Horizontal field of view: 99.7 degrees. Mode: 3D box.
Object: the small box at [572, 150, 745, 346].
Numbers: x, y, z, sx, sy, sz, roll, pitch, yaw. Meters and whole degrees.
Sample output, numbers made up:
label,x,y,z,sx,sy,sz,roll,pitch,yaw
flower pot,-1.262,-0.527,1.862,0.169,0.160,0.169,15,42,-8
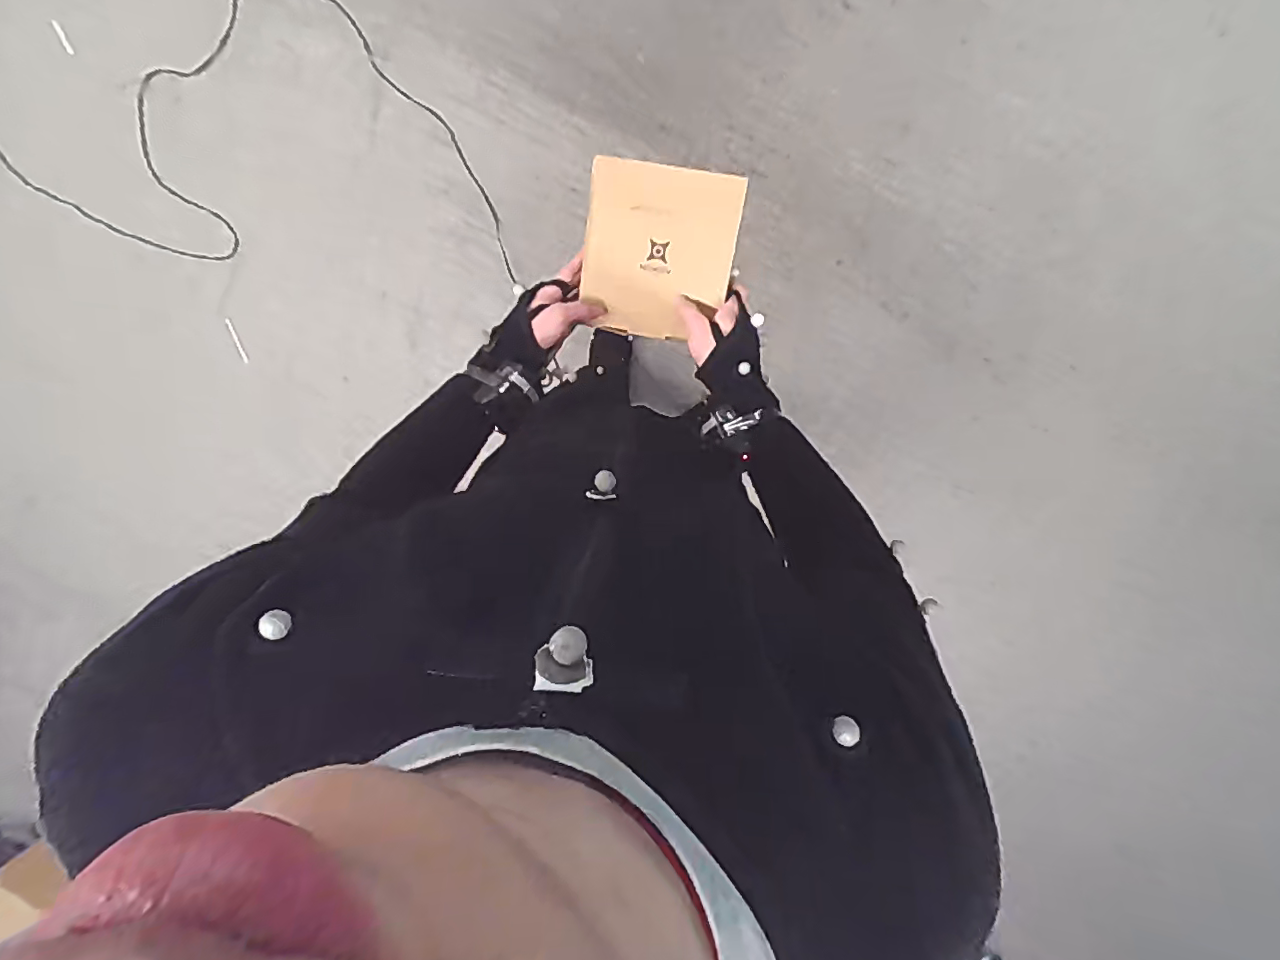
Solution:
label,x,y,z,sx,sy,sz,roll,pitch,yaw
small box,0.020,-0.269,0.651,0.168,0.176,0.179,8,110,0
